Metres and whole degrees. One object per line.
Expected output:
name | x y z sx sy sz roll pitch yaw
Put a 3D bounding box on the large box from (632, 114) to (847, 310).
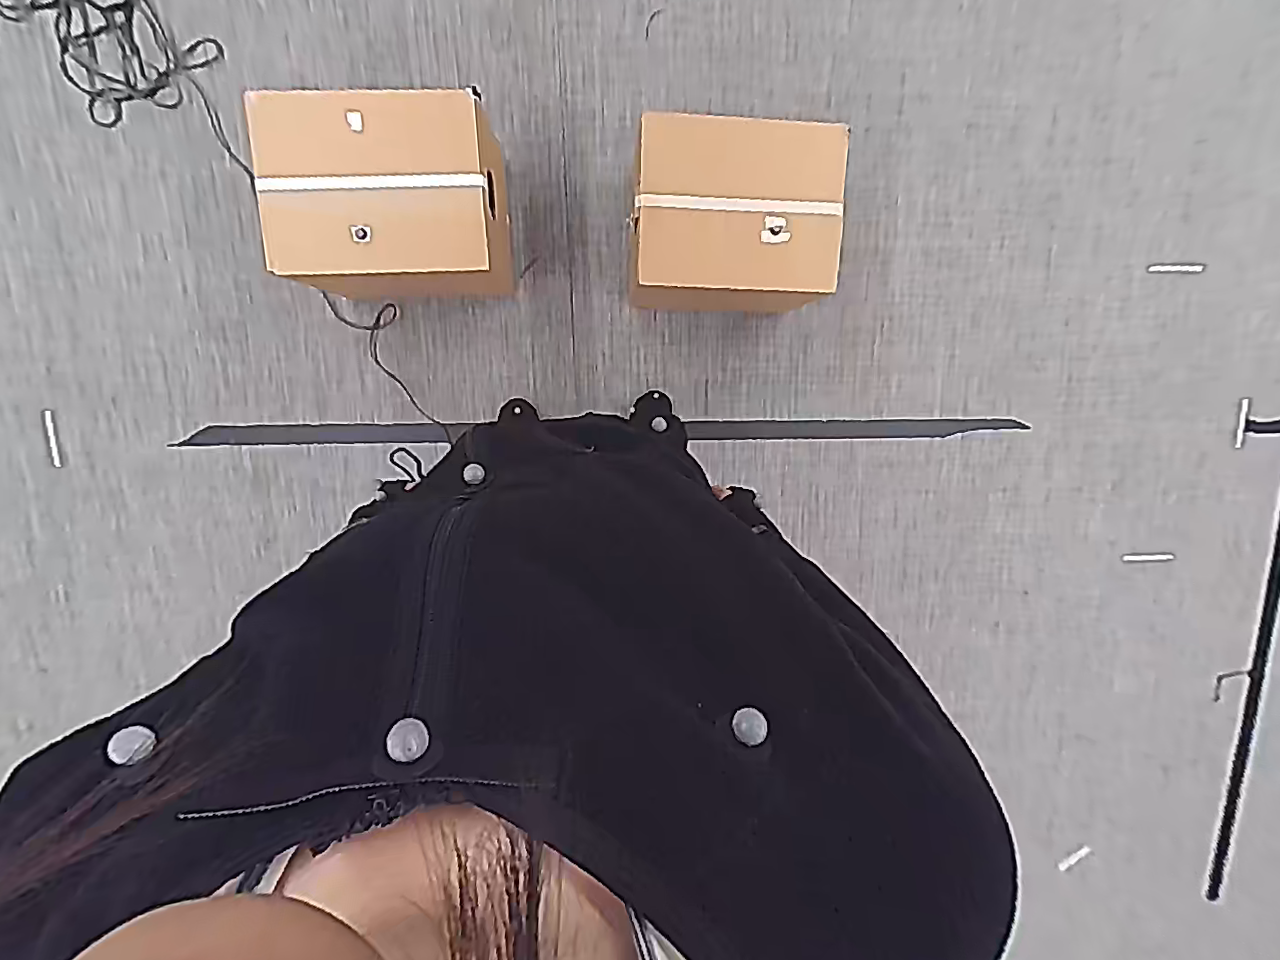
large box | 0.190 -0.562 1.204 0.408 0.320 0.320 1 100 -5
